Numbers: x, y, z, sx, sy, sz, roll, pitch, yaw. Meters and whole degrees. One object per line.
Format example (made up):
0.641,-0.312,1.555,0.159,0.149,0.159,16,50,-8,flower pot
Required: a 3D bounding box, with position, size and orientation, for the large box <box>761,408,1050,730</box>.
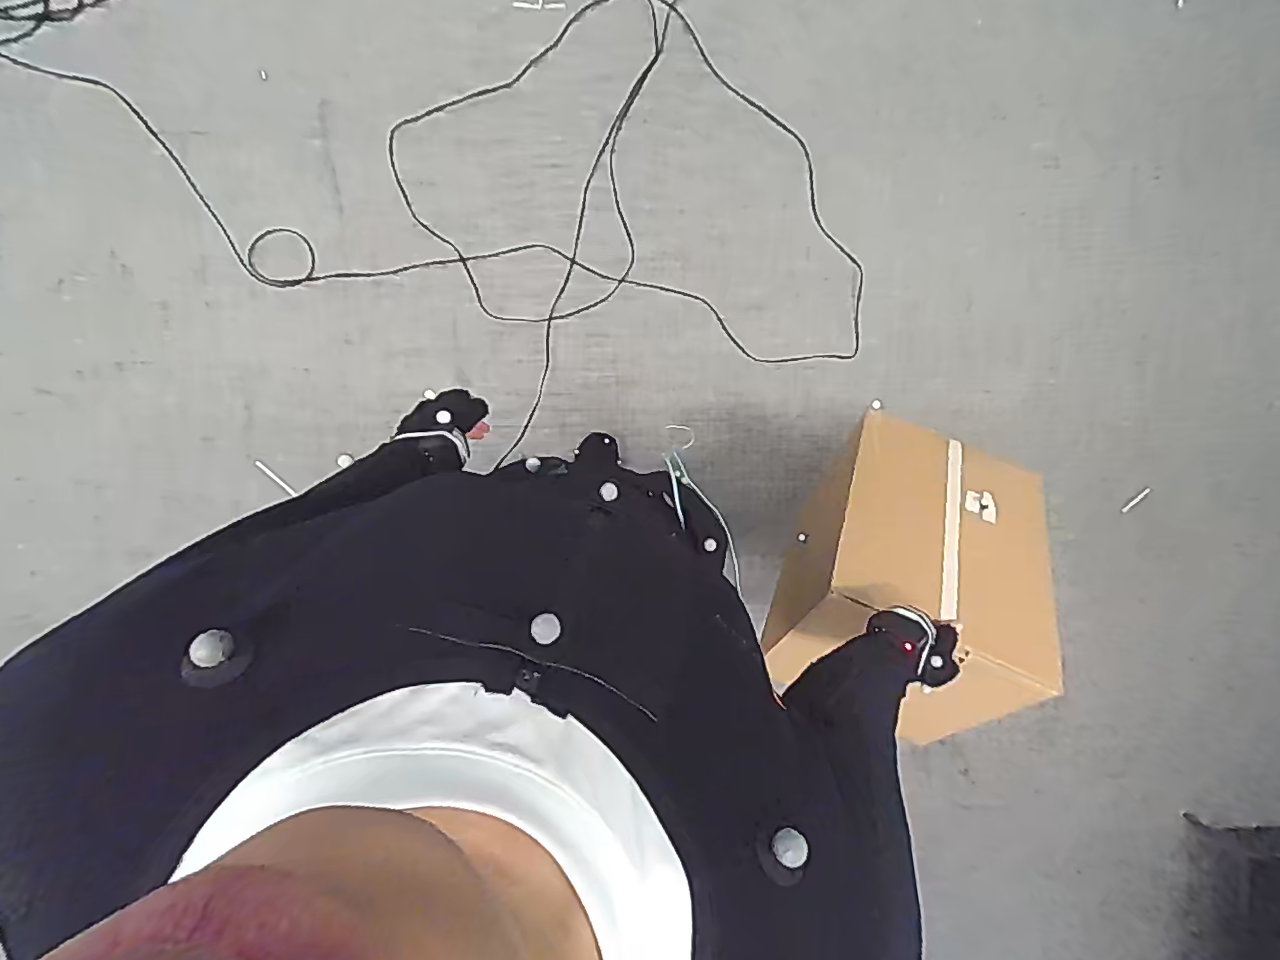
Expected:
0.443,0.153,0.957,0.320,0.320,0.408,24,51,6,large box
